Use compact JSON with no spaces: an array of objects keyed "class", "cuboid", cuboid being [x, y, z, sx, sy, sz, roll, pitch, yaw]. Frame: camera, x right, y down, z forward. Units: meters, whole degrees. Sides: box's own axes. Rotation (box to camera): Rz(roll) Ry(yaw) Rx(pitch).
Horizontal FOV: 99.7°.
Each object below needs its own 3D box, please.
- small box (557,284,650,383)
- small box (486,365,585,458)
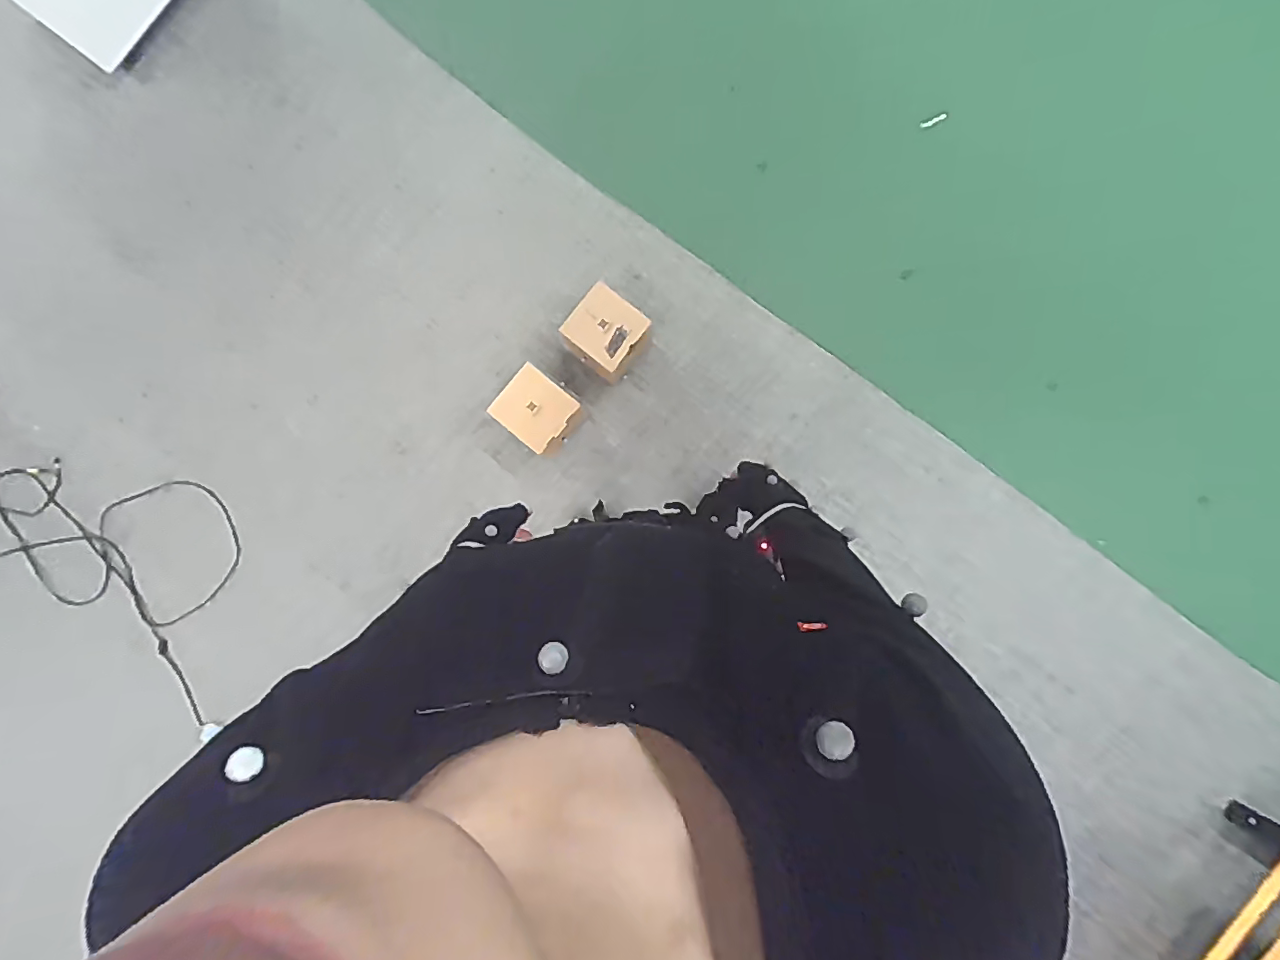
[{"class":"small box","cuboid":[-0.087,-0.371,1.418,0.179,0.176,0.168,39,89,2]},{"class":"small box","cuboid":[-0.265,-0.169,1.415,0.179,0.176,0.168,39,89,1]}]
